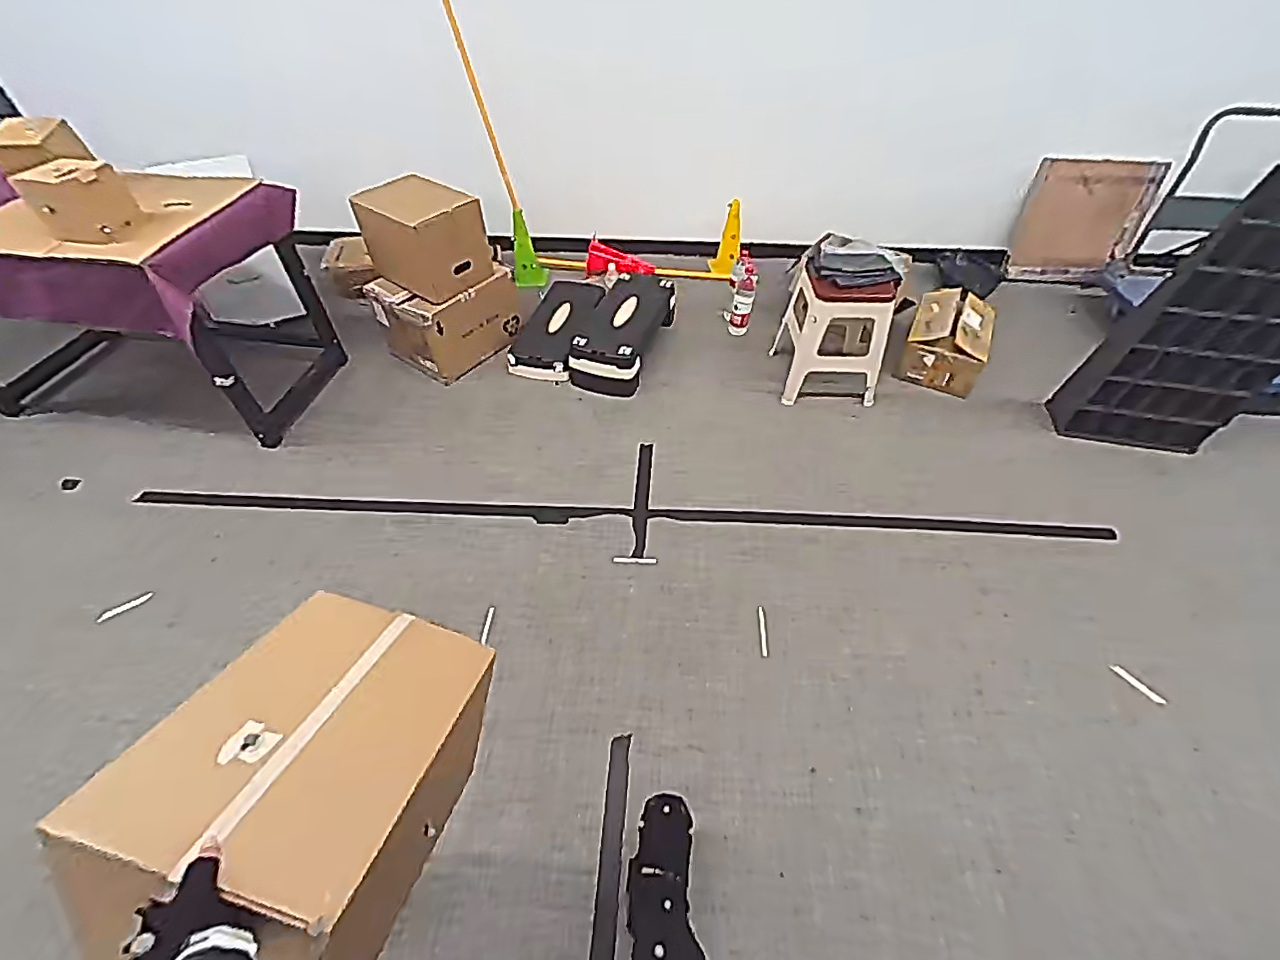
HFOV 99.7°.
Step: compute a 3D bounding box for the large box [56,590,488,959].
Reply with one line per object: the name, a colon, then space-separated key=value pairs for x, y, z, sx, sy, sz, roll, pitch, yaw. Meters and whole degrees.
large box: x=-0.461 y=0.439 z=0.785 sx=0.320 sy=0.320 sz=0.408 roll=18 pitch=26 yaw=2
